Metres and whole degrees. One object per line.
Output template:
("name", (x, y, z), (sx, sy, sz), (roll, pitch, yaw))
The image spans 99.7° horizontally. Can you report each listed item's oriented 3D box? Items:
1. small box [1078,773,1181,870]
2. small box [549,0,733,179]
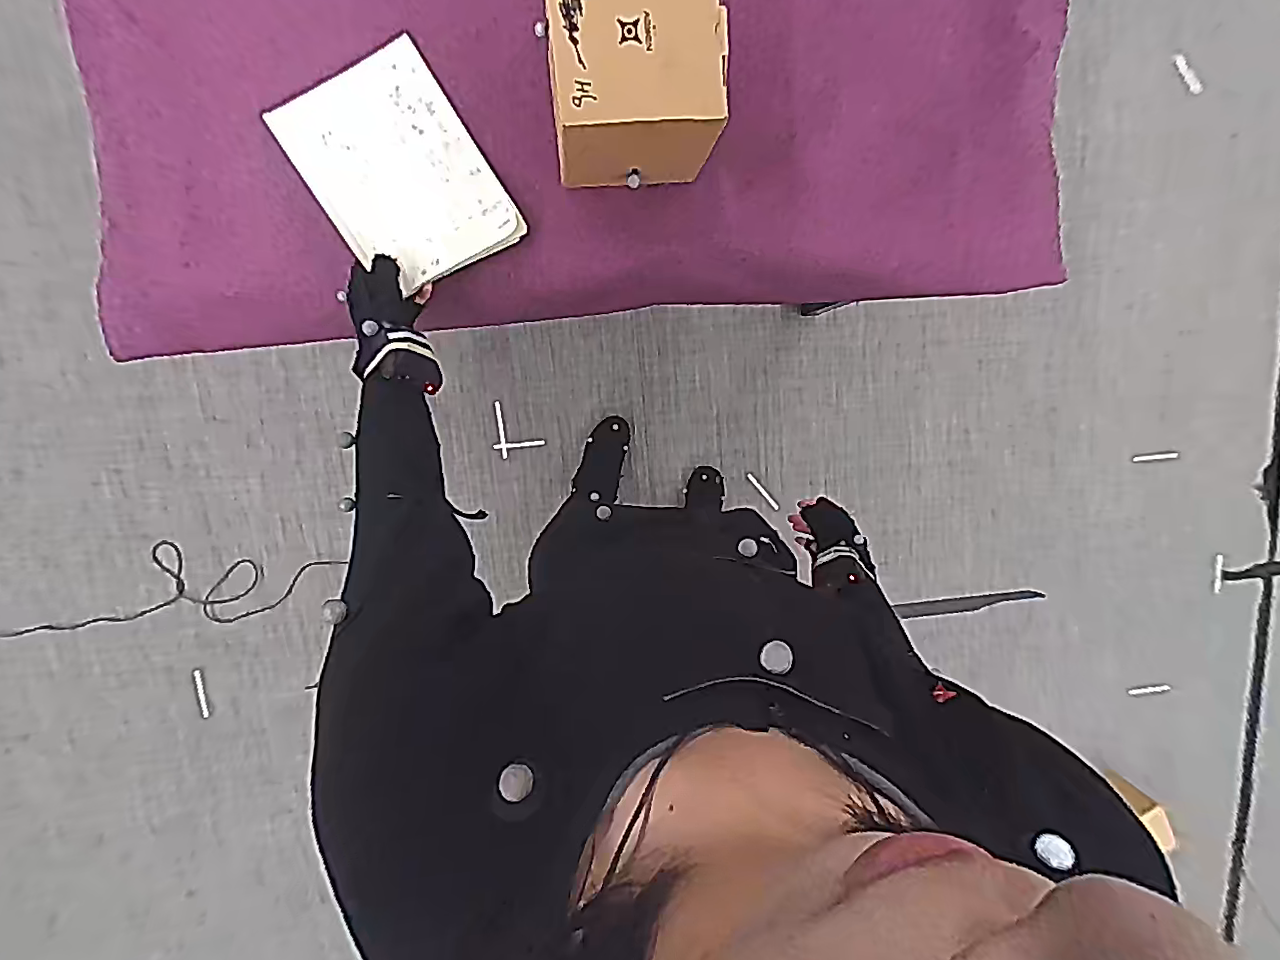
("small box", (1.603, 1.115, 1.779), (0.168, 0.176, 0.179), (-28, 100, -2))
("small box", (-0.008, -0.458, 0.605), (0.179, 0.176, 0.168), (-6, 99, -6))
